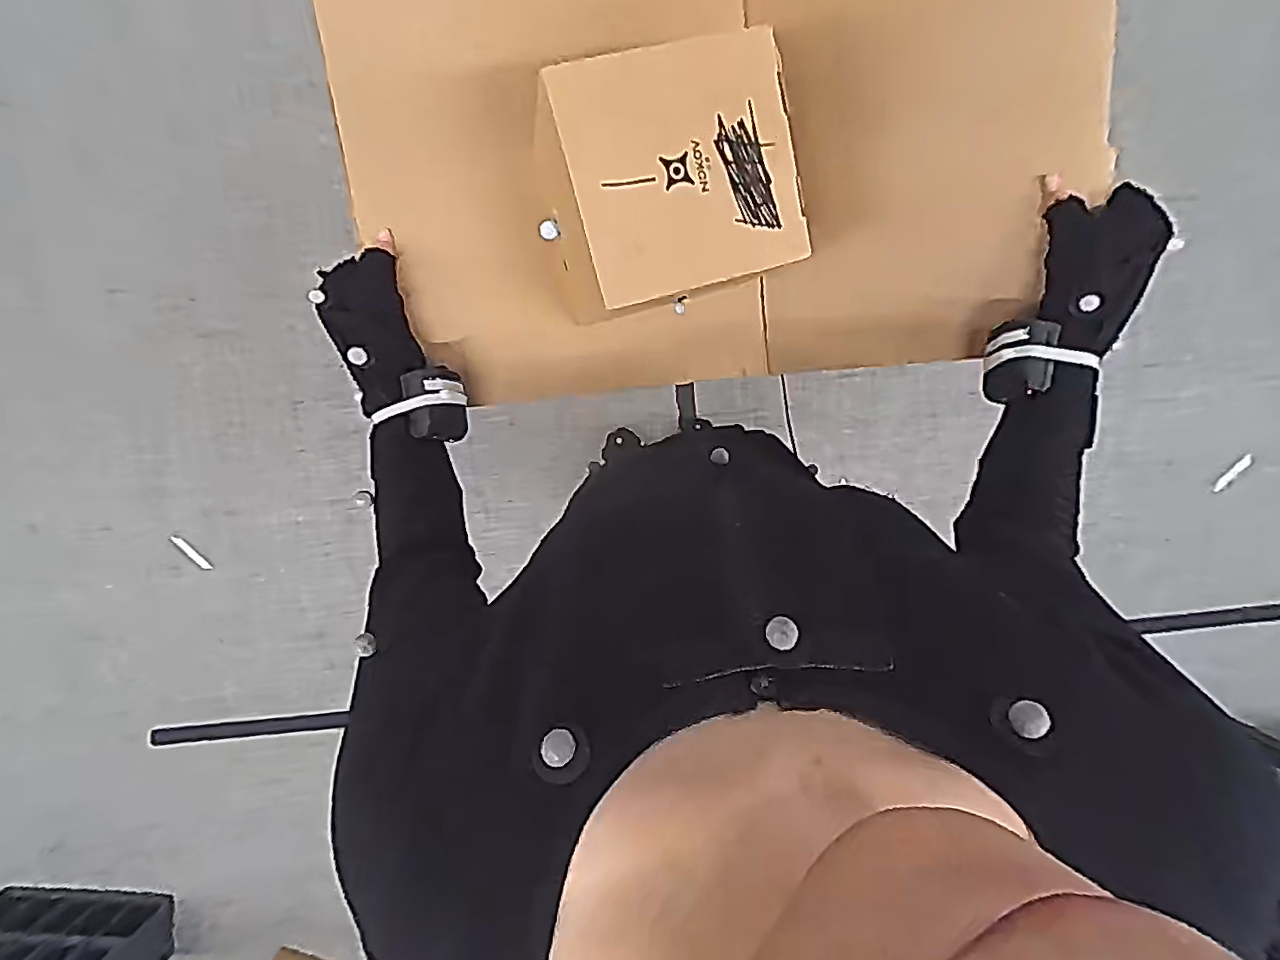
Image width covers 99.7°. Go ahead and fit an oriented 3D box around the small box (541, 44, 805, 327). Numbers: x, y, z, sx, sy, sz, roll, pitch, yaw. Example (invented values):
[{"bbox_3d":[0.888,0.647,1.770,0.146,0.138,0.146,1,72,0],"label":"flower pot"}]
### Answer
[{"bbox_3d":[0.019,-0.244,0.488,0.179,0.176,0.168,-17,104,-9],"label":"small box"}]
